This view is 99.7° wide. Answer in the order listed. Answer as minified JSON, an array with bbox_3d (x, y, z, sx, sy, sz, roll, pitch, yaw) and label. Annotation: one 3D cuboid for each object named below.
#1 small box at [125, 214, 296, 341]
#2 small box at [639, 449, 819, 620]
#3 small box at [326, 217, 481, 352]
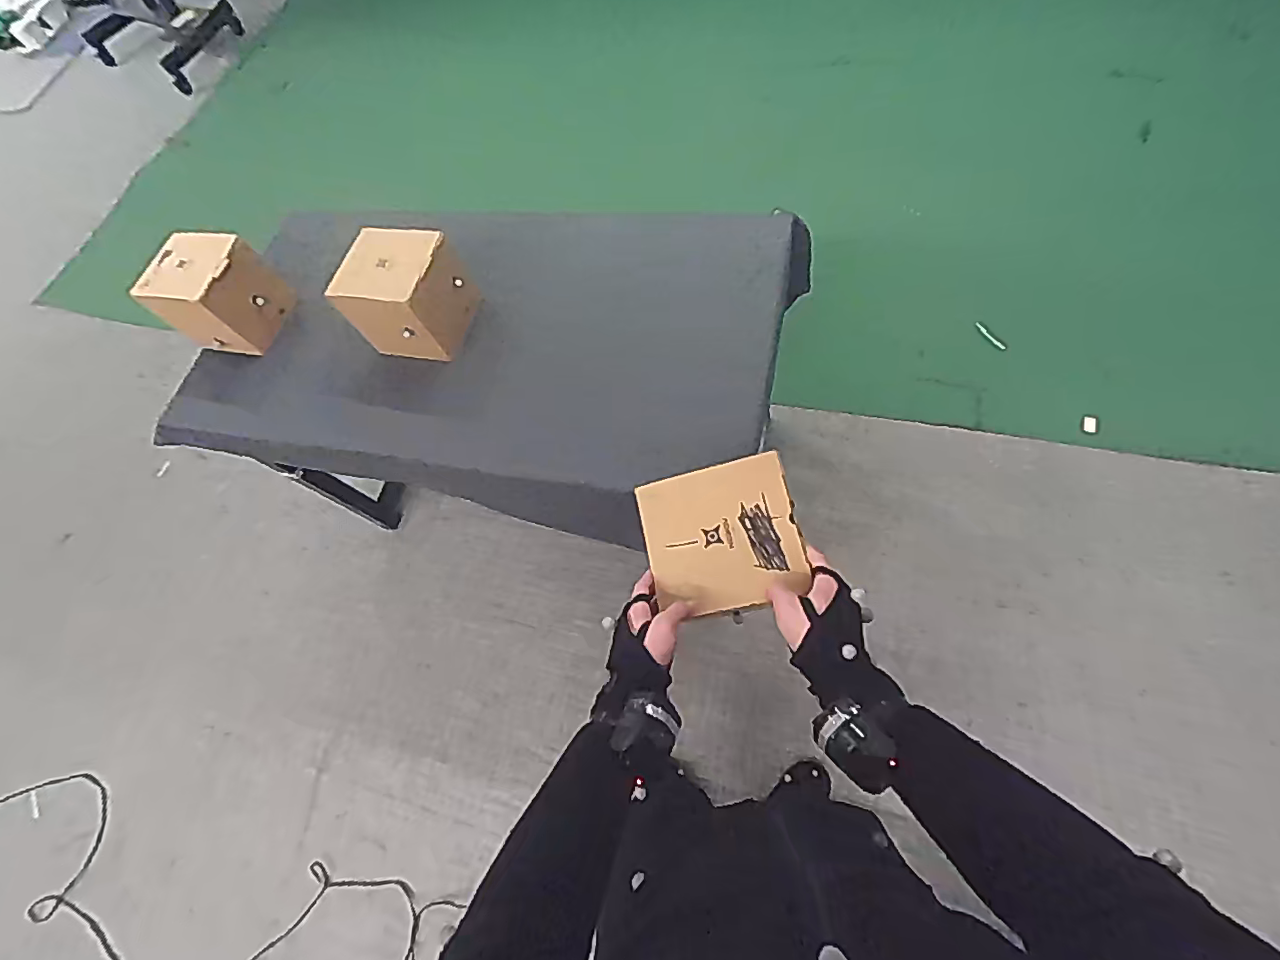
[{"bbox_3d":[-0.854,-0.405,1.097,0.179,0.176,0.168,11,67,12],"label":"small box"},{"bbox_3d":[0.111,0.079,0.678,0.179,0.176,0.168,-13,71,11],"label":"small box"},{"bbox_3d":[-0.426,-0.359,1.010,0.179,0.176,0.168,10,66,15],"label":"small box"}]
